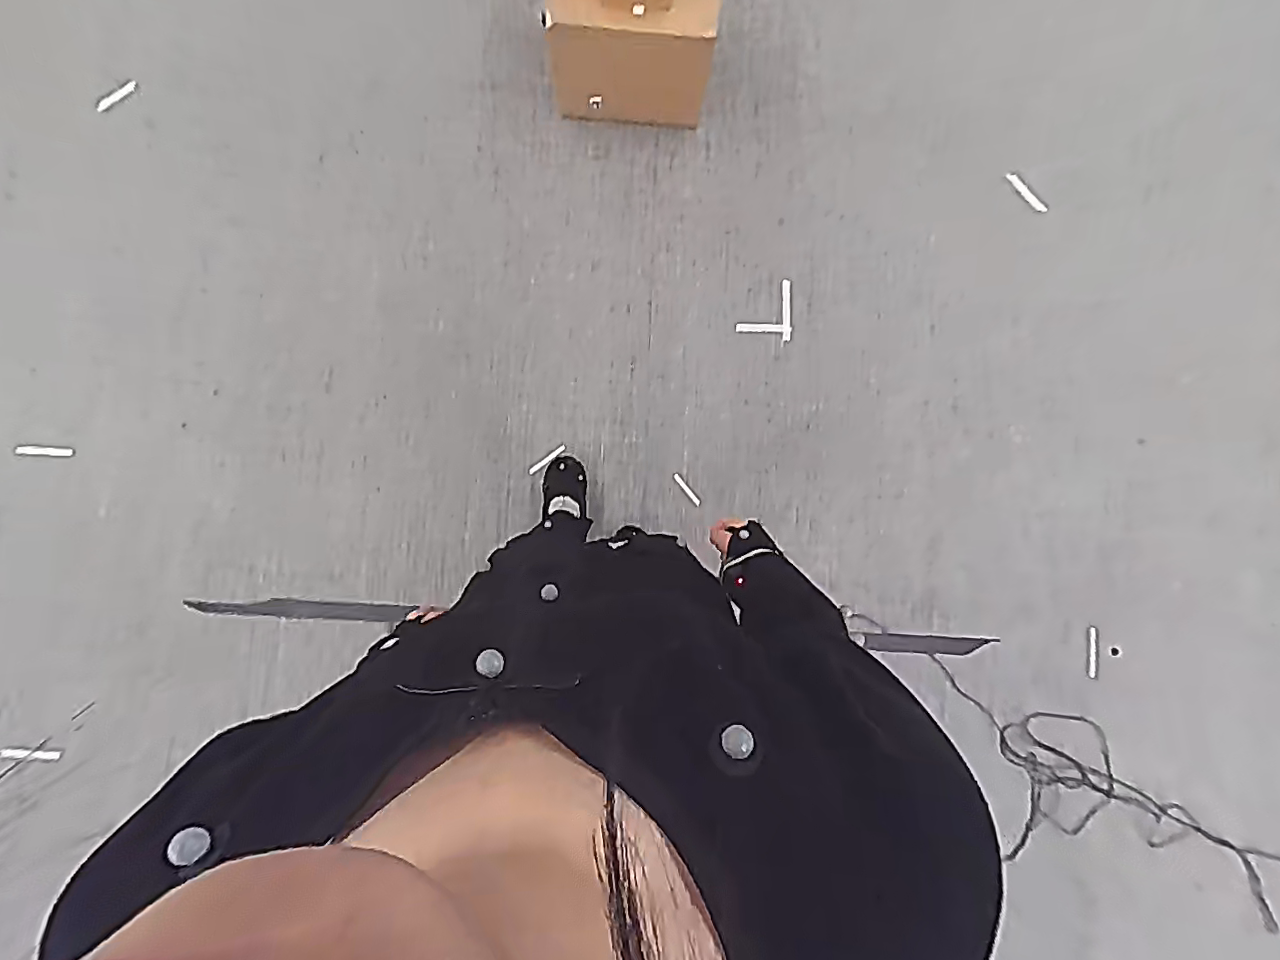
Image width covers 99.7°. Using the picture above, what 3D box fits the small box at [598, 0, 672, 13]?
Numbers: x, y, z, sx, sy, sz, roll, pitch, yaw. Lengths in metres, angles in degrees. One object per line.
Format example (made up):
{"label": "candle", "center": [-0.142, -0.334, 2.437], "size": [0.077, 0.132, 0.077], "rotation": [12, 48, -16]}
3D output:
{"label": "small box", "center": [-0.007, -1.175, 1.184], "size": [0.179, 0.176, 0.168], "rotation": [2, 88, -2]}
